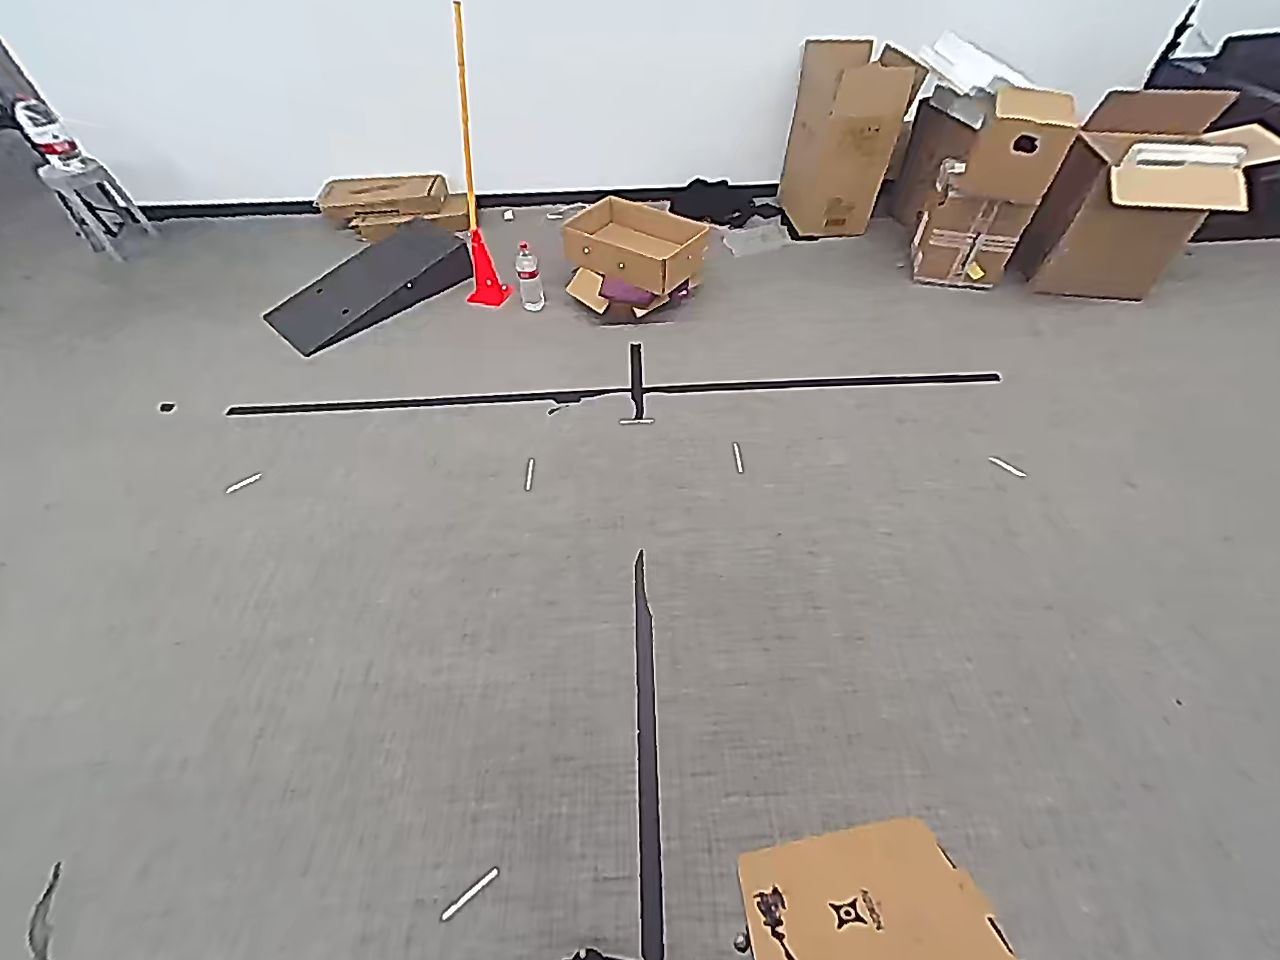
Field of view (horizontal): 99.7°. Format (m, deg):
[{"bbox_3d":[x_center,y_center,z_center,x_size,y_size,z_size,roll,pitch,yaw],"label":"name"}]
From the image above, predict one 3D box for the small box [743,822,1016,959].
[{"bbox_3d":[0.195,0.424,0.434,0.179,0.168,0.176,-14,92,3],"label":"small box"}]
